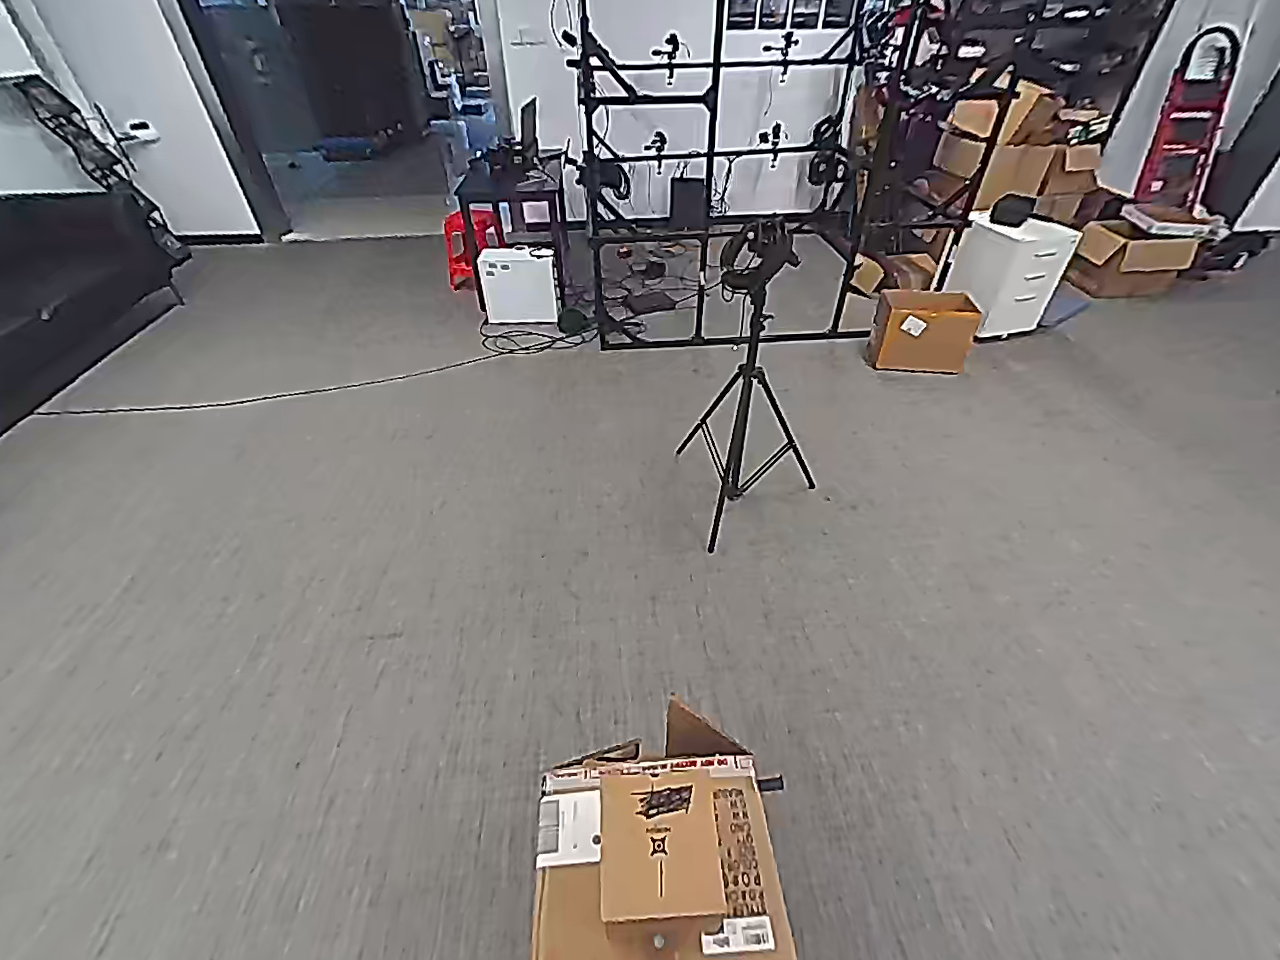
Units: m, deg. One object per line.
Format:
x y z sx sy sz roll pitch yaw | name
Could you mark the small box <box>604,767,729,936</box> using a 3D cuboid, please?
0.031 0.556 0.811 0.168 0.176 0.179 -3 44 -2 | small box
